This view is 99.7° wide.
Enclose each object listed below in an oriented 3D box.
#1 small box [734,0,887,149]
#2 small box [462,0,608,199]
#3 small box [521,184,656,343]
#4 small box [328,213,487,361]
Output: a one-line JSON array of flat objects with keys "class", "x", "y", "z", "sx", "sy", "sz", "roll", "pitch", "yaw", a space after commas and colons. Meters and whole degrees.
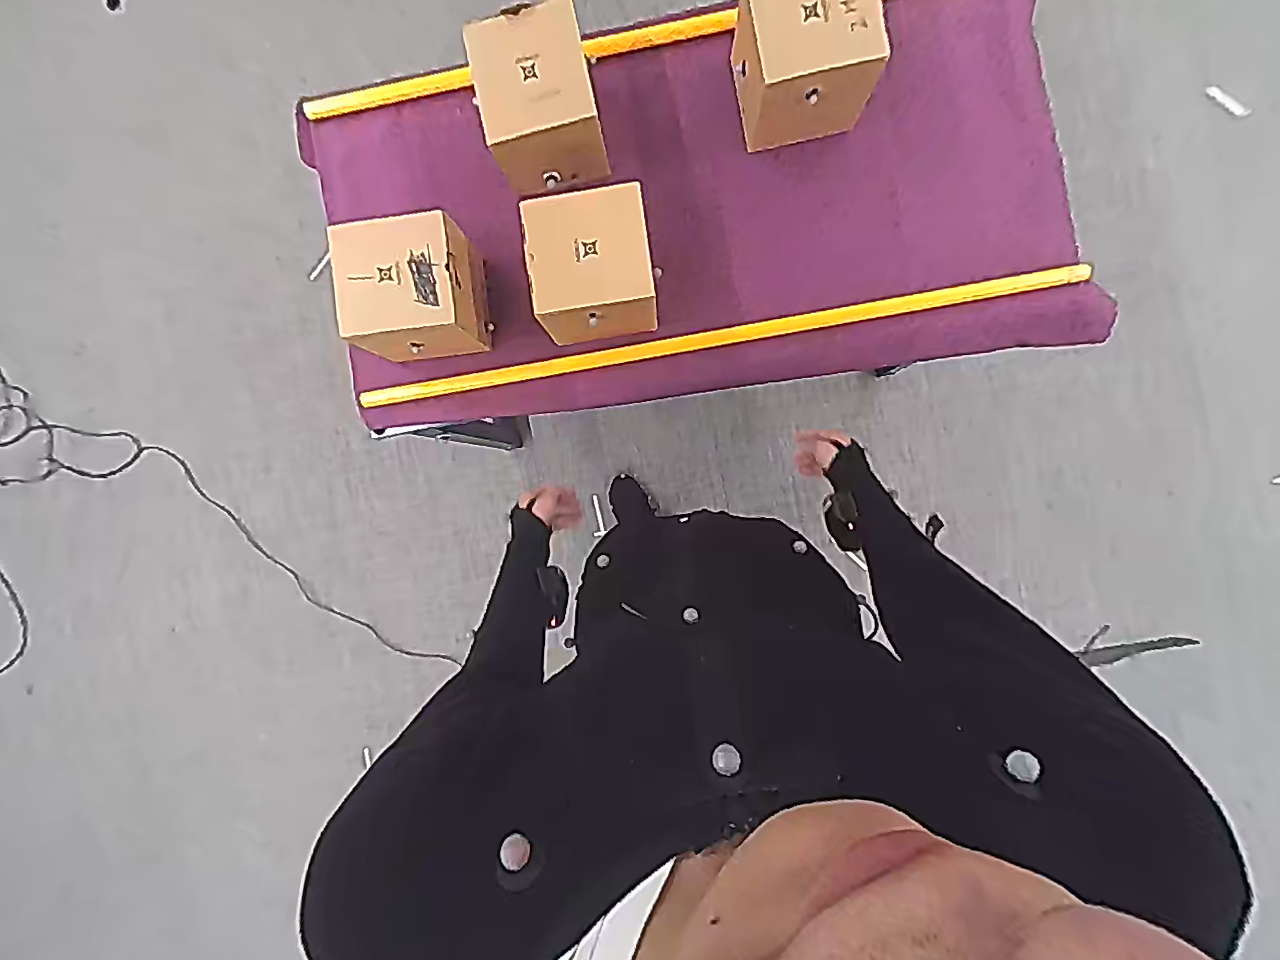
[{"class": "small box", "x": 0.243, "y": -0.639, "z": 0.818, "sx": 0.179, "sy": 0.176, "sz": 0.168, "roll": -10, "pitch": 91, "yaw": 3}, {"class": "small box", "x": -0.153, "y": -0.580, "z": 0.843, "sx": 0.168, "sy": 0.176, "sz": 0.179, "roll": -13, "pitch": 90, "yaw": 4}, {"class": "small box", "x": -0.070, "y": -0.323, "z": 0.839, "sx": 0.179, "sy": 0.176, "sz": 0.168, "roll": -8, "pitch": 89, "yaw": 4}, {"class": "small box", "x": -0.351, "y": -0.292, "z": 0.852, "sx": 0.179, "sy": 0.176, "sz": 0.168, "roll": -6, "pitch": 90, "yaw": 3}]
